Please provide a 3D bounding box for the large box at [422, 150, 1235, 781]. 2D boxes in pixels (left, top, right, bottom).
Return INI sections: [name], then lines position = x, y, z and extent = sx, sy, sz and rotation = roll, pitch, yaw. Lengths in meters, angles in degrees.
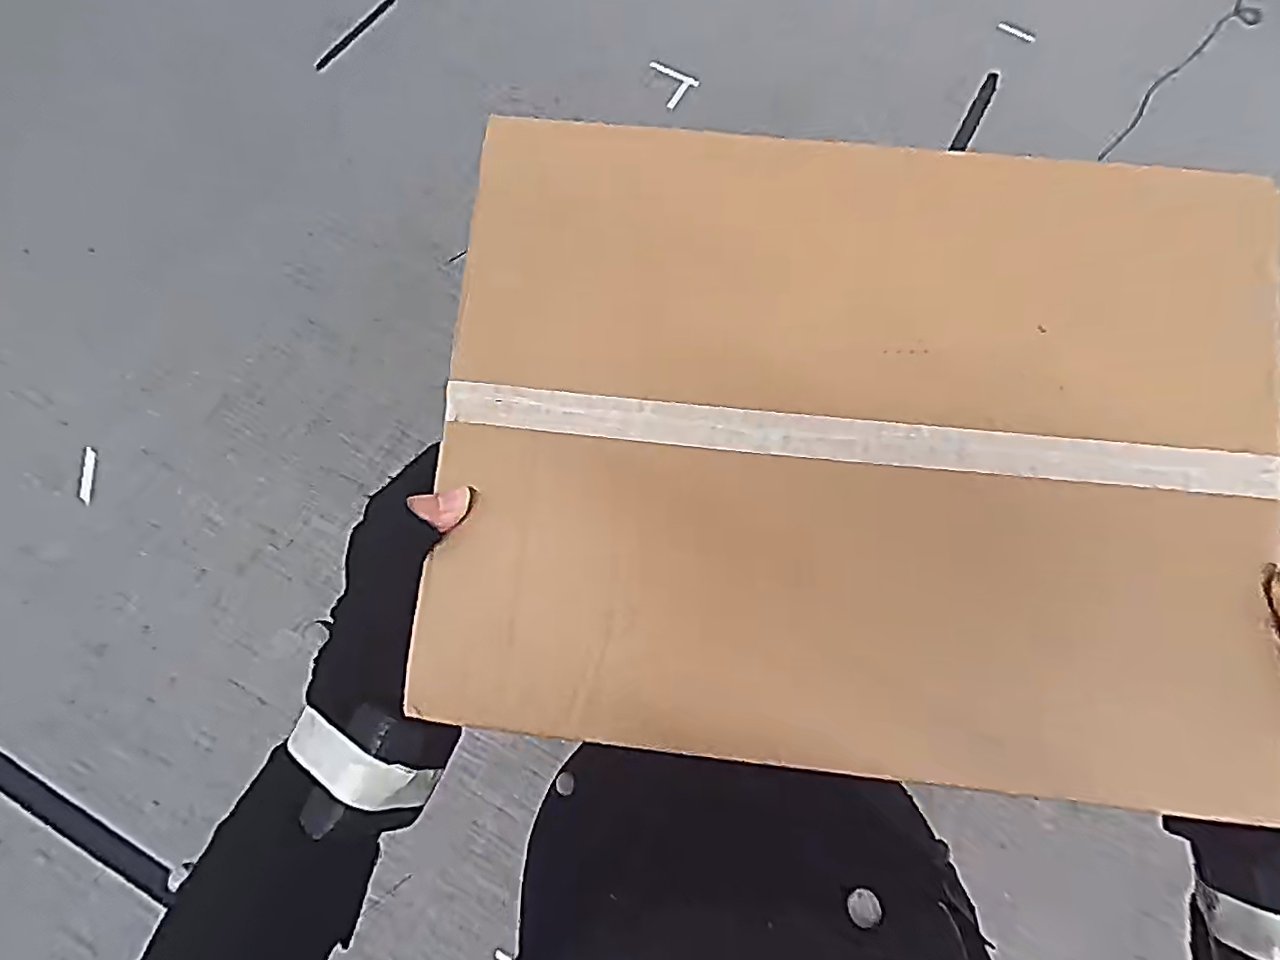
[large box]
position = 0.104, -0.006, 0.427
extent = 0.408, 0.320, 0.320
rotation = 5, 83, 3
